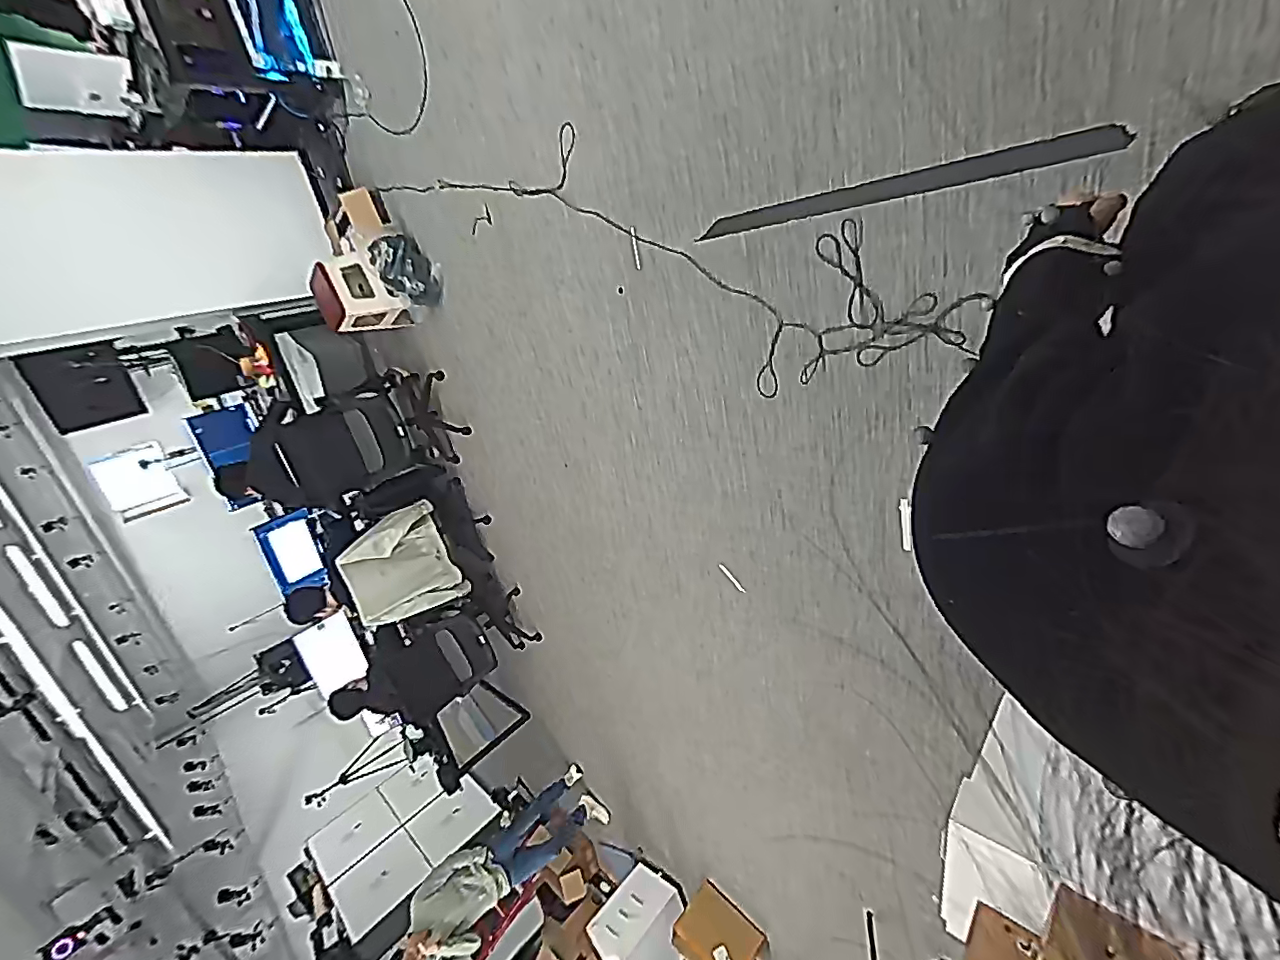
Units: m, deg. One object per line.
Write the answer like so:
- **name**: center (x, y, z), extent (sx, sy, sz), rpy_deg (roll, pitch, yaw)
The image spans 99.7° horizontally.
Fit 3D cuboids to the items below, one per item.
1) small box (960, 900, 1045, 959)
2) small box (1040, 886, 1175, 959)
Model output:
- **small box**: center (0.772, 1.043, 1.124), extent (0.168, 0.176, 0.179), rpy_deg (11, 118, 42)
- **small box**: center (0.826, 0.890, 0.967), extent (0.168, 0.176, 0.179), rpy_deg (14, 124, 42)
